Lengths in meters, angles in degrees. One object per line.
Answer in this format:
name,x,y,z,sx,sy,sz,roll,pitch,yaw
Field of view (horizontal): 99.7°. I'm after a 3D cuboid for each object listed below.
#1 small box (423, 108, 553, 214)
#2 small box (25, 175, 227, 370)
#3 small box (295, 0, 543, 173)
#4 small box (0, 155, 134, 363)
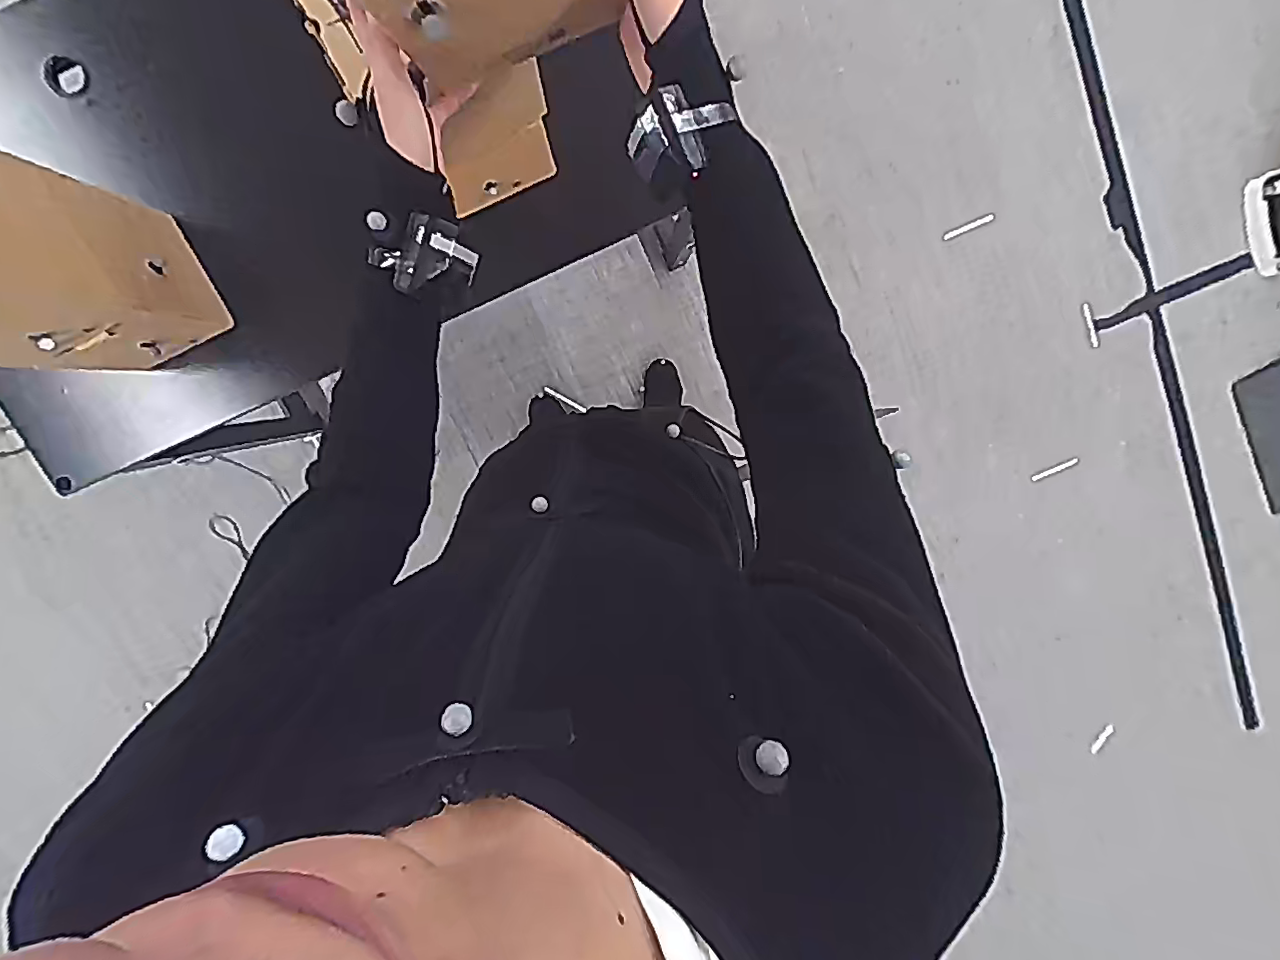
small box,-0.228,-0.487,0.709,0.168,0.176,0.179,-25,101,2
small box,-0.715,-0.260,0.721,0.168,0.176,0.179,-26,101,1
small box,-0.217,-0.452,0.548,0.179,0.176,0.168,-28,101,1
small box,-0.706,-0.233,0.559,0.168,0.176,0.179,-25,101,2
